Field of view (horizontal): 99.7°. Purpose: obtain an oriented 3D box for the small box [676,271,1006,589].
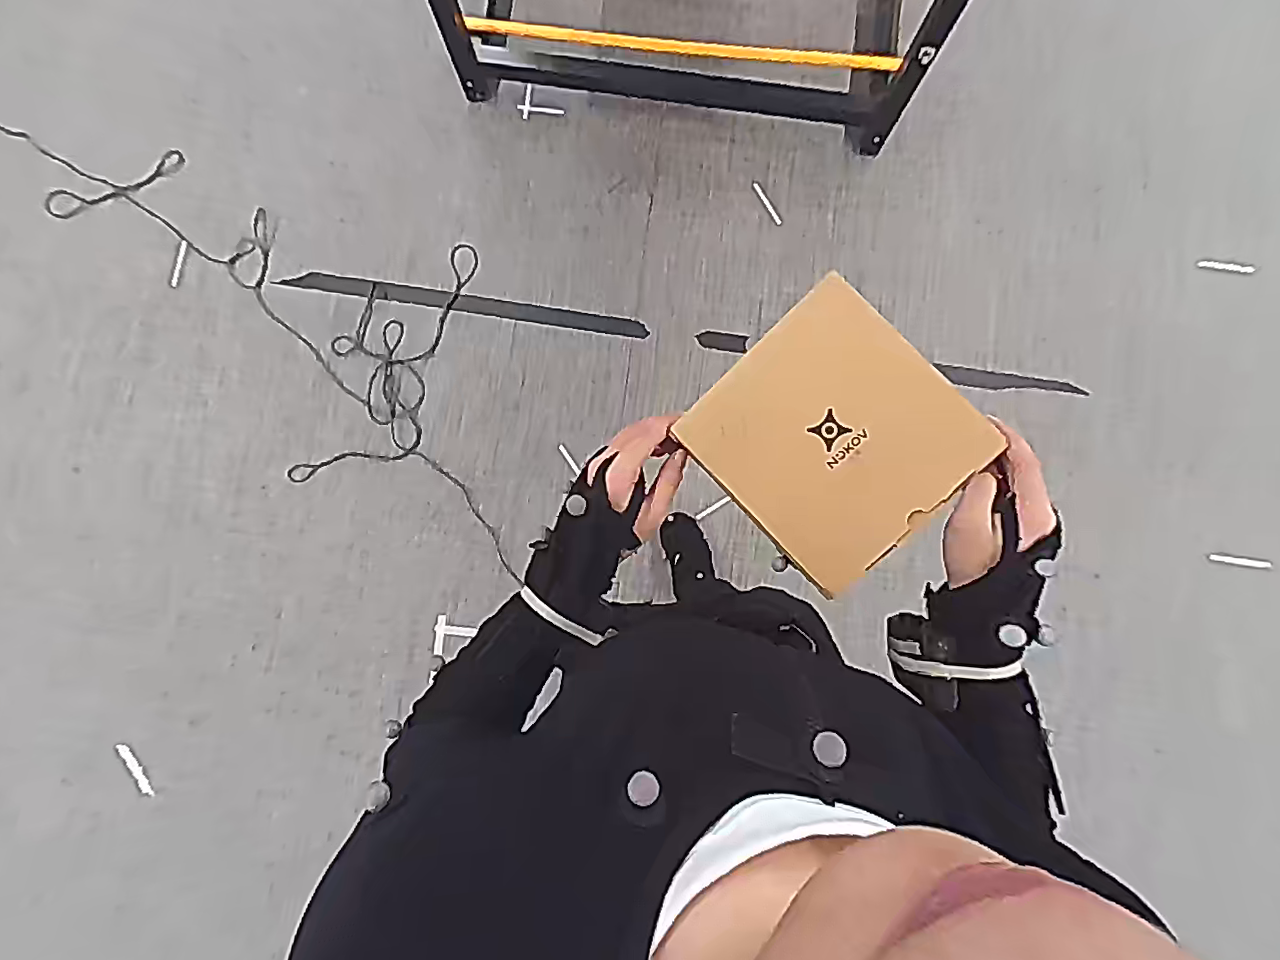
[{"bbox_3d":[0.149,-0.036,0.469,0.168,0.176,0.179,-44,86,6],"label":"small box"}]
